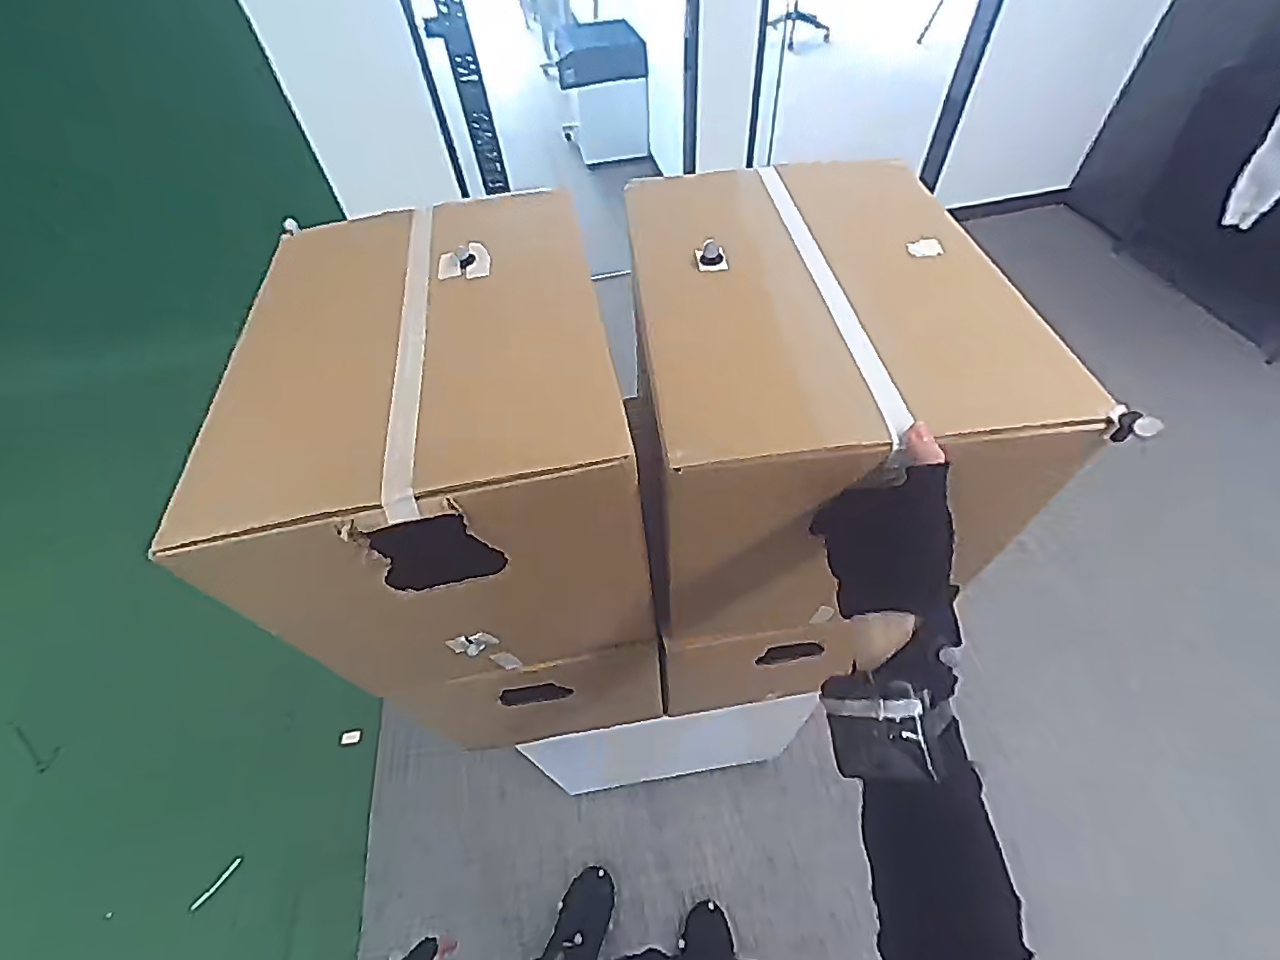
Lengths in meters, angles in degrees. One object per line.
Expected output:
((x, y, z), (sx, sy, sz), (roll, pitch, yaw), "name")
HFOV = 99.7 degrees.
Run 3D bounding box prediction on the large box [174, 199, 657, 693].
((-0.180, -0.042, 0.592), (0.320, 0.320, 0.408), (-11, 51, -4), "large box")
